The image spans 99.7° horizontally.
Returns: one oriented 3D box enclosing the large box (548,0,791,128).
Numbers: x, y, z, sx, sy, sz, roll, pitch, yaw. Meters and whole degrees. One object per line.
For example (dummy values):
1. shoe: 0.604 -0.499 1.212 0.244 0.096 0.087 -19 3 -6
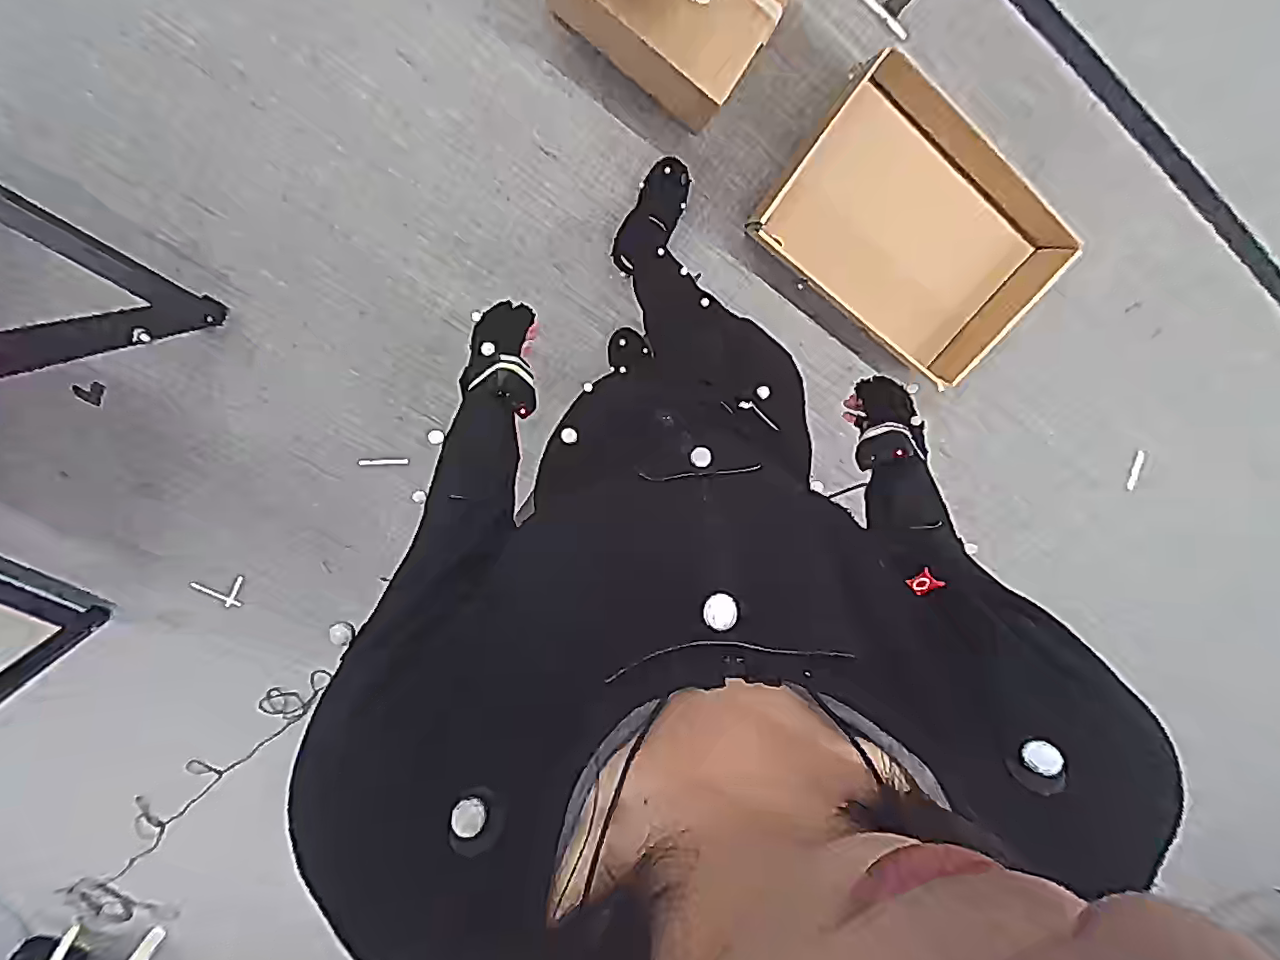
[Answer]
1. large box: 0.064 -0.930 0.972 0.408 0.320 0.320 30 112 -15
